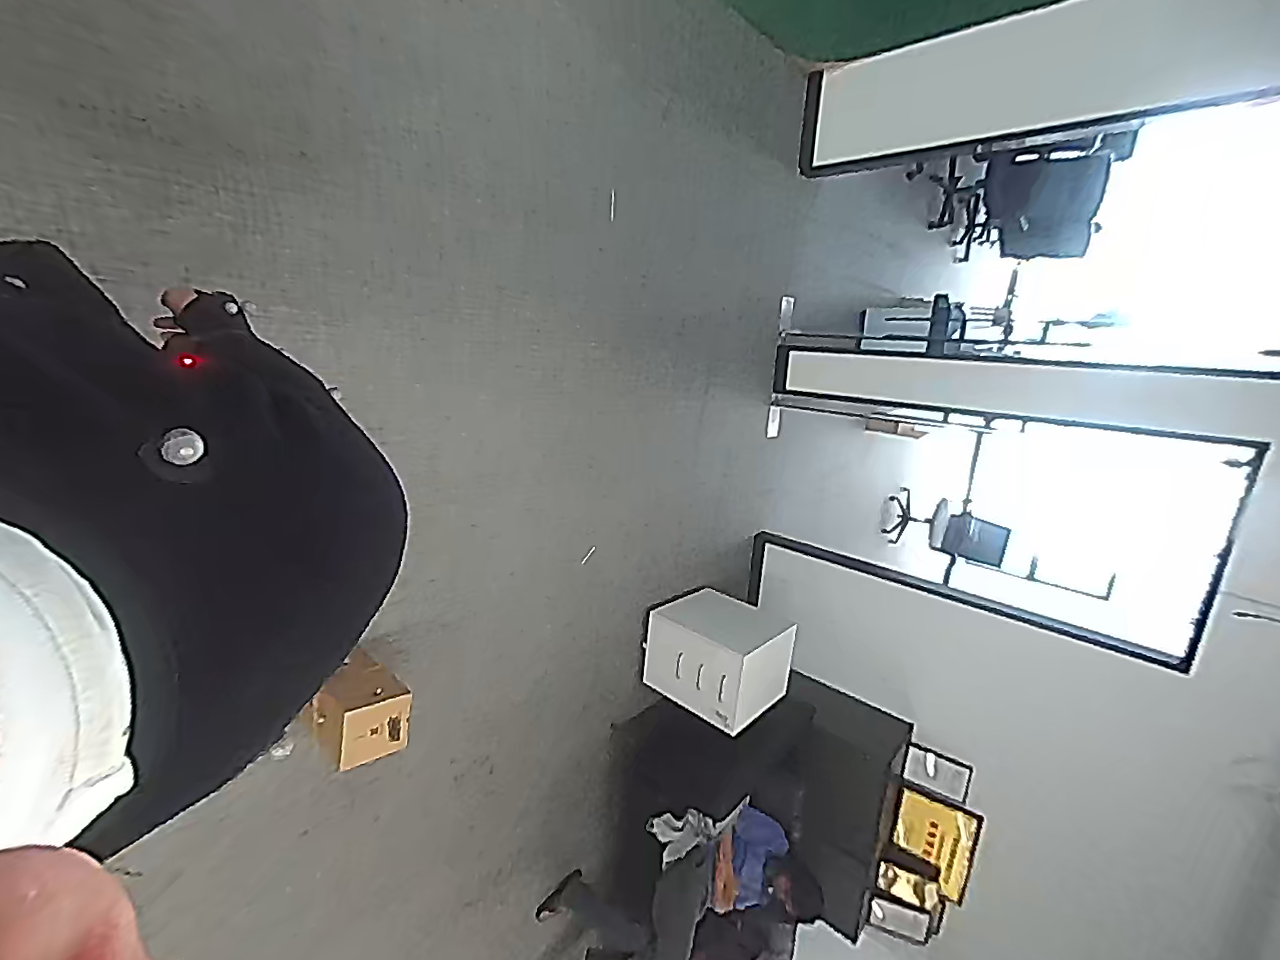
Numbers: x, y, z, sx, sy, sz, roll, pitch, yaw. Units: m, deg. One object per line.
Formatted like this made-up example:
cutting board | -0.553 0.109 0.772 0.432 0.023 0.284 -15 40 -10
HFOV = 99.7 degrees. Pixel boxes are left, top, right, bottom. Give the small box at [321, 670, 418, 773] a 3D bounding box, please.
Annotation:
small box | -0.728 0.637 1.455 0.179 0.176 0.168 -1 103 -49

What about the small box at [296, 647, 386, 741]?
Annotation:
small box | -0.857 0.601 1.551 0.179 0.176 0.168 -3 105 -50
